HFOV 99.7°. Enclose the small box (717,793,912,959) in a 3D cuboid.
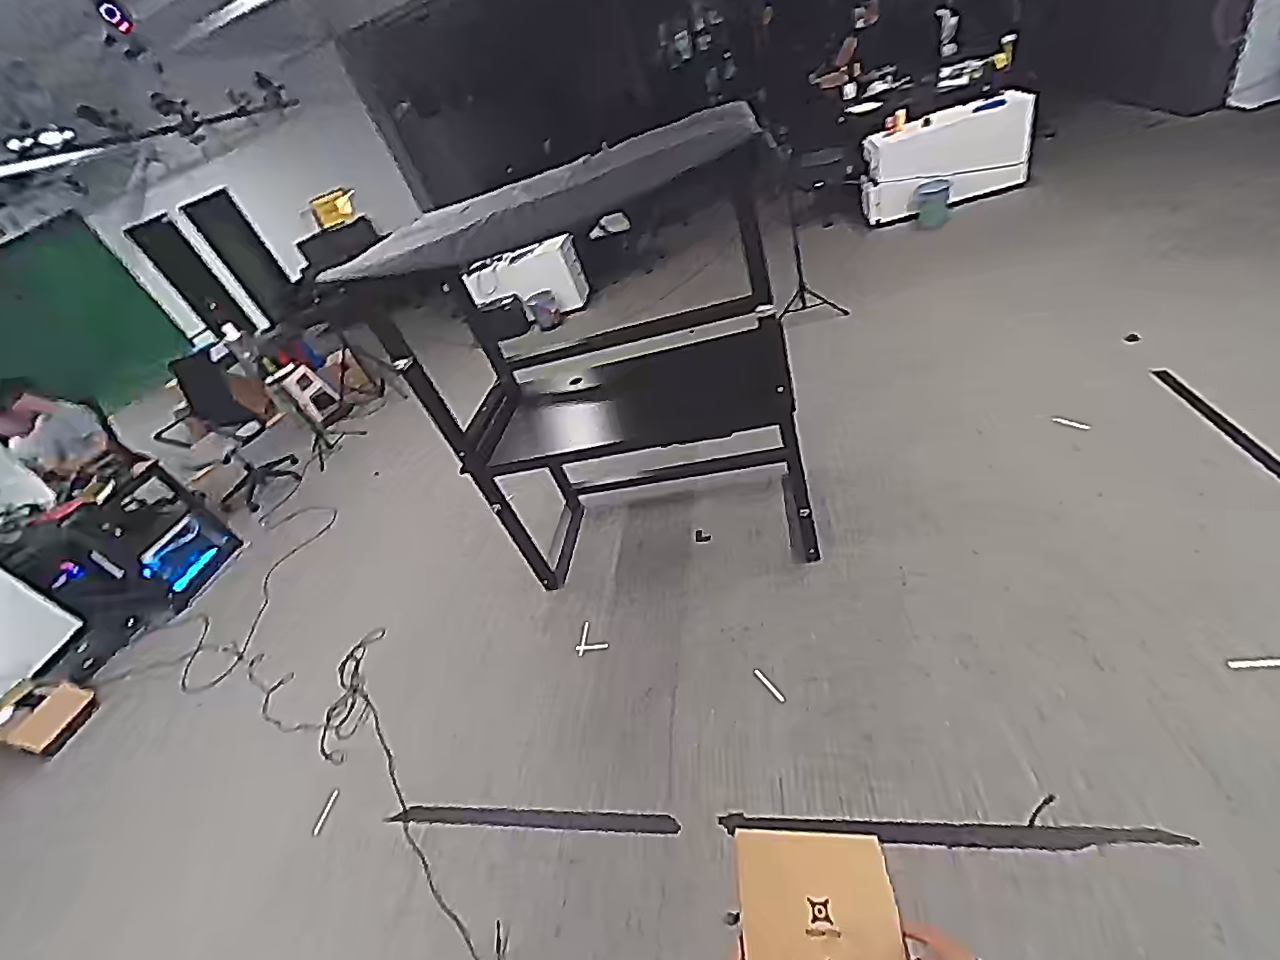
[{"bbox_3d":[0.170,0.471,0.579,0.168,0.176,0.179,-1,34,5],"label":"small box"}]
